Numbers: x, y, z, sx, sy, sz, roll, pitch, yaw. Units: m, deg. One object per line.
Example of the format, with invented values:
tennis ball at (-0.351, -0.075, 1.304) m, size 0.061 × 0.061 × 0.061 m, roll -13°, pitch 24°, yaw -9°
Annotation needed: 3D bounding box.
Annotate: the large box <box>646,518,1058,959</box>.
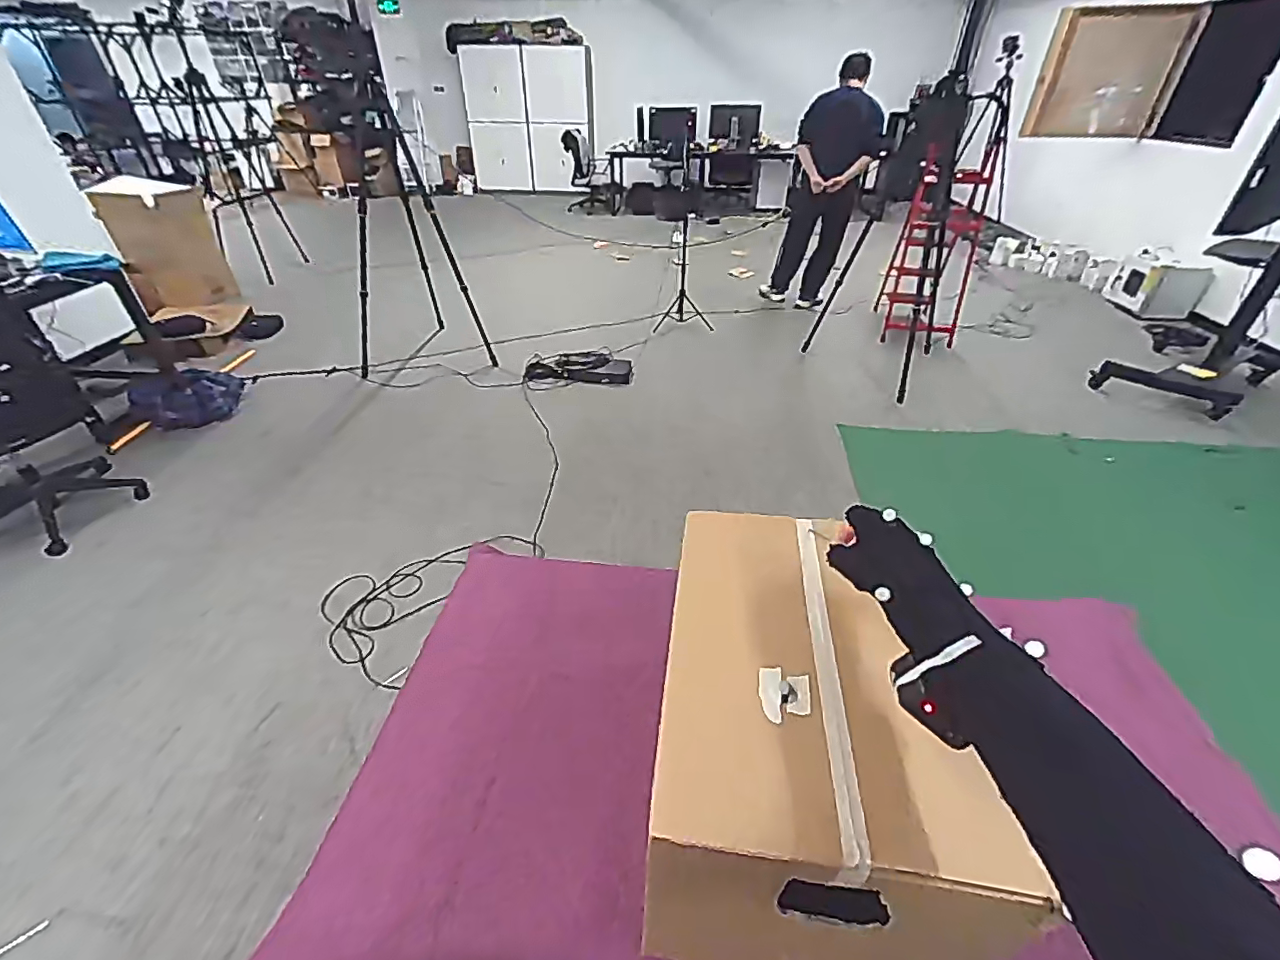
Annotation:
large box at (0.186, 0.302, 0.663) m, size 0.320 × 0.320 × 0.408 m, roll 5°, pitch 37°, yaw 7°
